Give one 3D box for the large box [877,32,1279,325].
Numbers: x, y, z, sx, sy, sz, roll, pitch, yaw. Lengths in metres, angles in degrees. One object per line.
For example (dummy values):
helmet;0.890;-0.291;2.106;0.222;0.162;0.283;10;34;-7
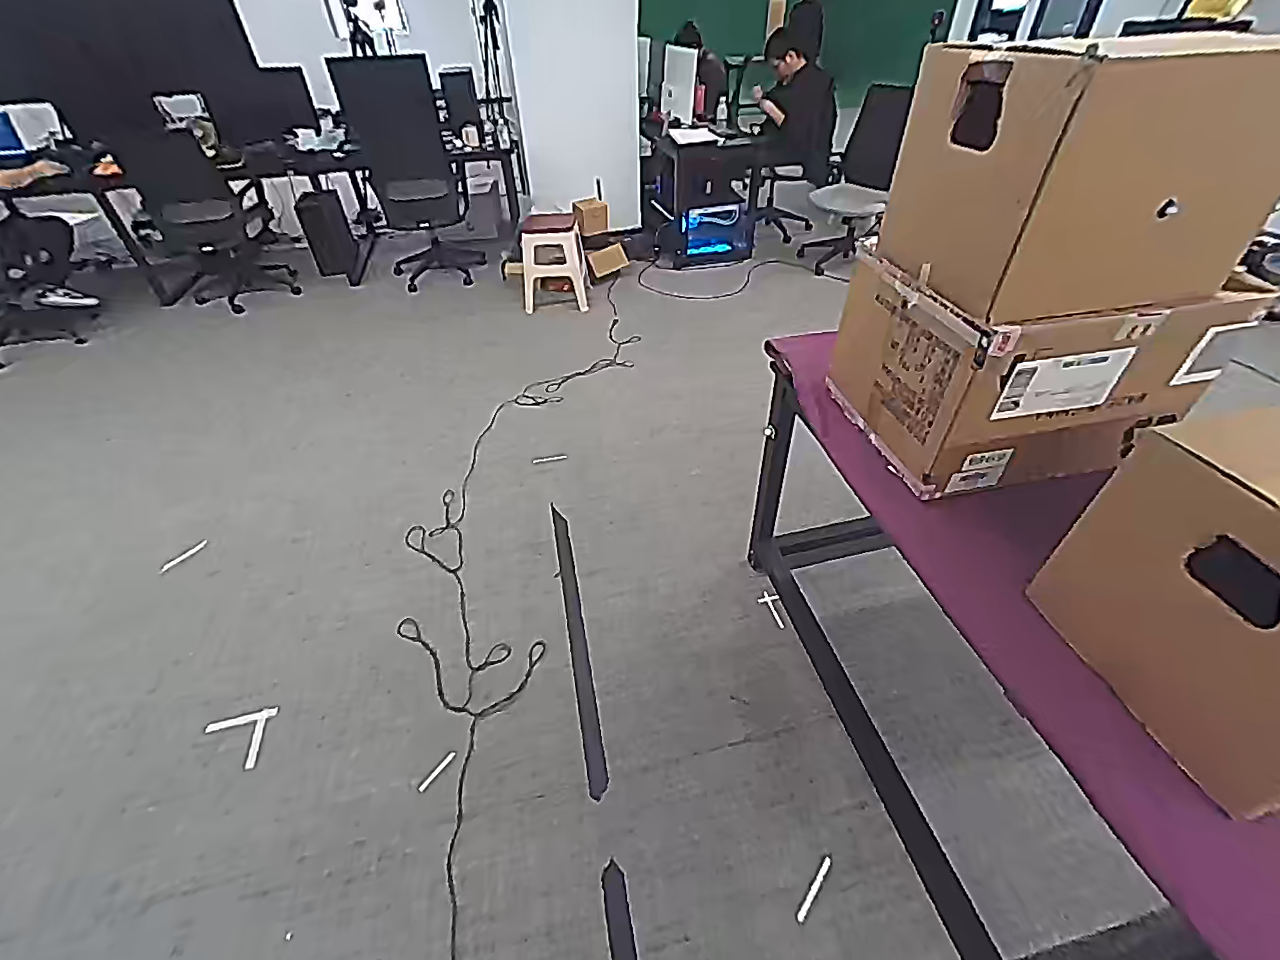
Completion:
large box;0.653;-0.464;0.819;0.408;0.320;0.320;-11;41;-9
